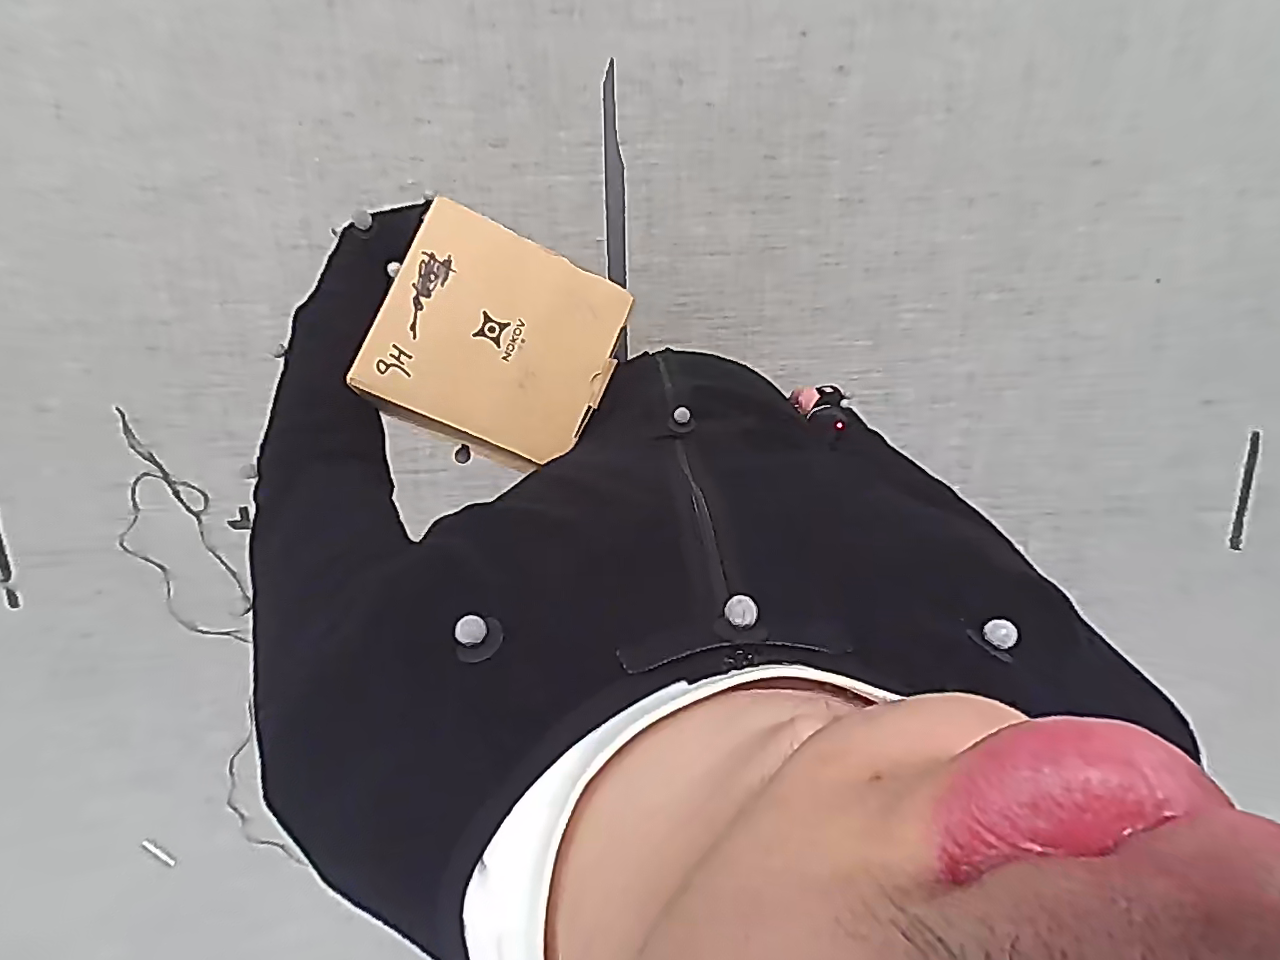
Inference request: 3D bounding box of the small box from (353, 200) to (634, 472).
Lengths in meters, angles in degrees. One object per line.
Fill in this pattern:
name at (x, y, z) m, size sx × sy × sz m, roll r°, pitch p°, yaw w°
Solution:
small box at (-0.132, -0.113, 0.512) m, size 0.179 × 0.176 × 0.168 m, roll 23°, pitch 82°, yaw -14°
